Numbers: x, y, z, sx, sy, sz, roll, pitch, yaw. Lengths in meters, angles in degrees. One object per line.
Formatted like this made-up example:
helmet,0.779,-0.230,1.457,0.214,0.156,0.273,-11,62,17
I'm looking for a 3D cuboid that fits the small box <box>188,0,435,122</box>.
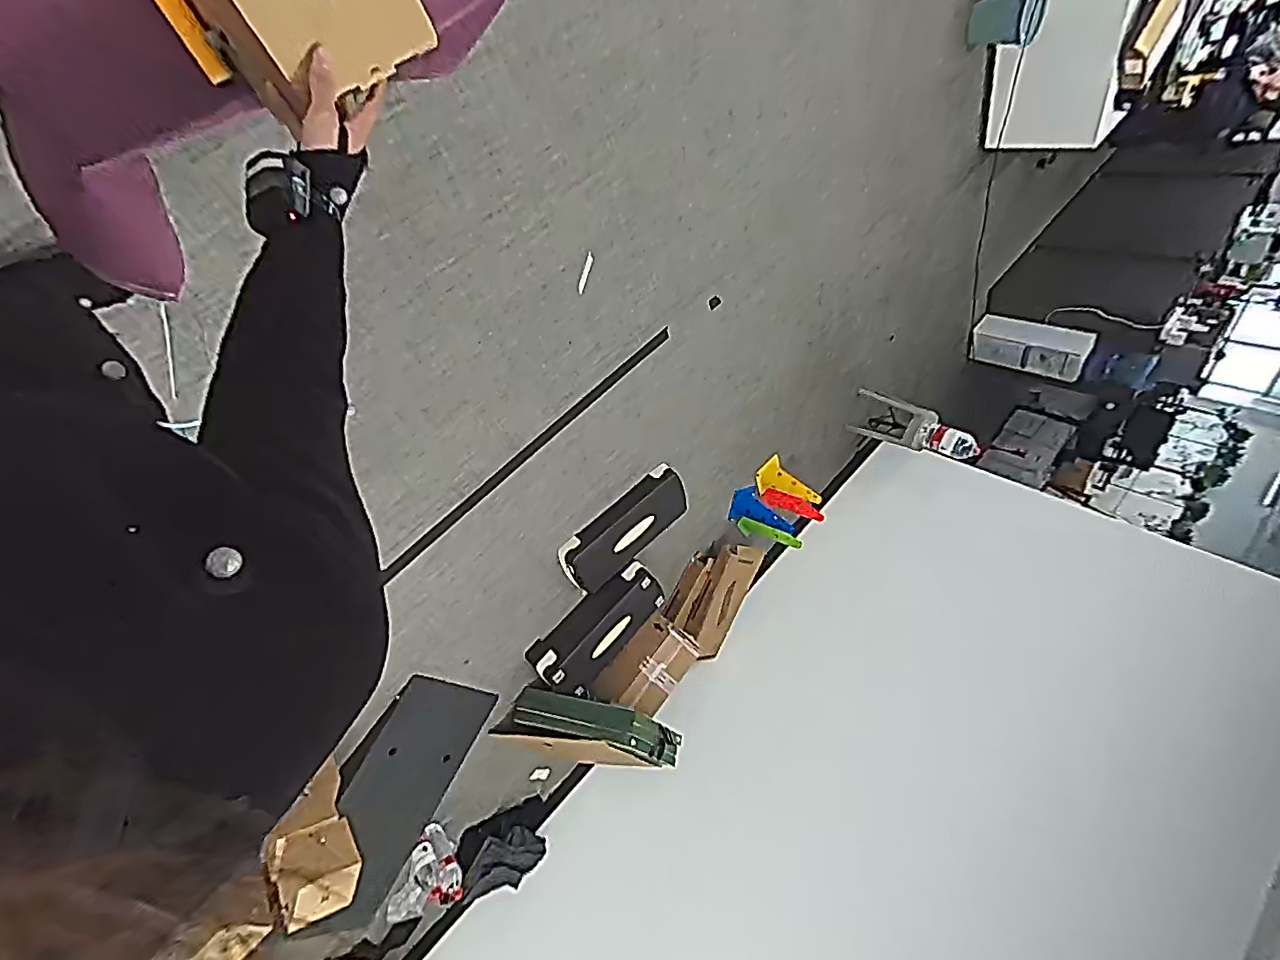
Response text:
small box,-0.356,-0.502,0.561,0.168,0.176,0.179,-44,136,-16
